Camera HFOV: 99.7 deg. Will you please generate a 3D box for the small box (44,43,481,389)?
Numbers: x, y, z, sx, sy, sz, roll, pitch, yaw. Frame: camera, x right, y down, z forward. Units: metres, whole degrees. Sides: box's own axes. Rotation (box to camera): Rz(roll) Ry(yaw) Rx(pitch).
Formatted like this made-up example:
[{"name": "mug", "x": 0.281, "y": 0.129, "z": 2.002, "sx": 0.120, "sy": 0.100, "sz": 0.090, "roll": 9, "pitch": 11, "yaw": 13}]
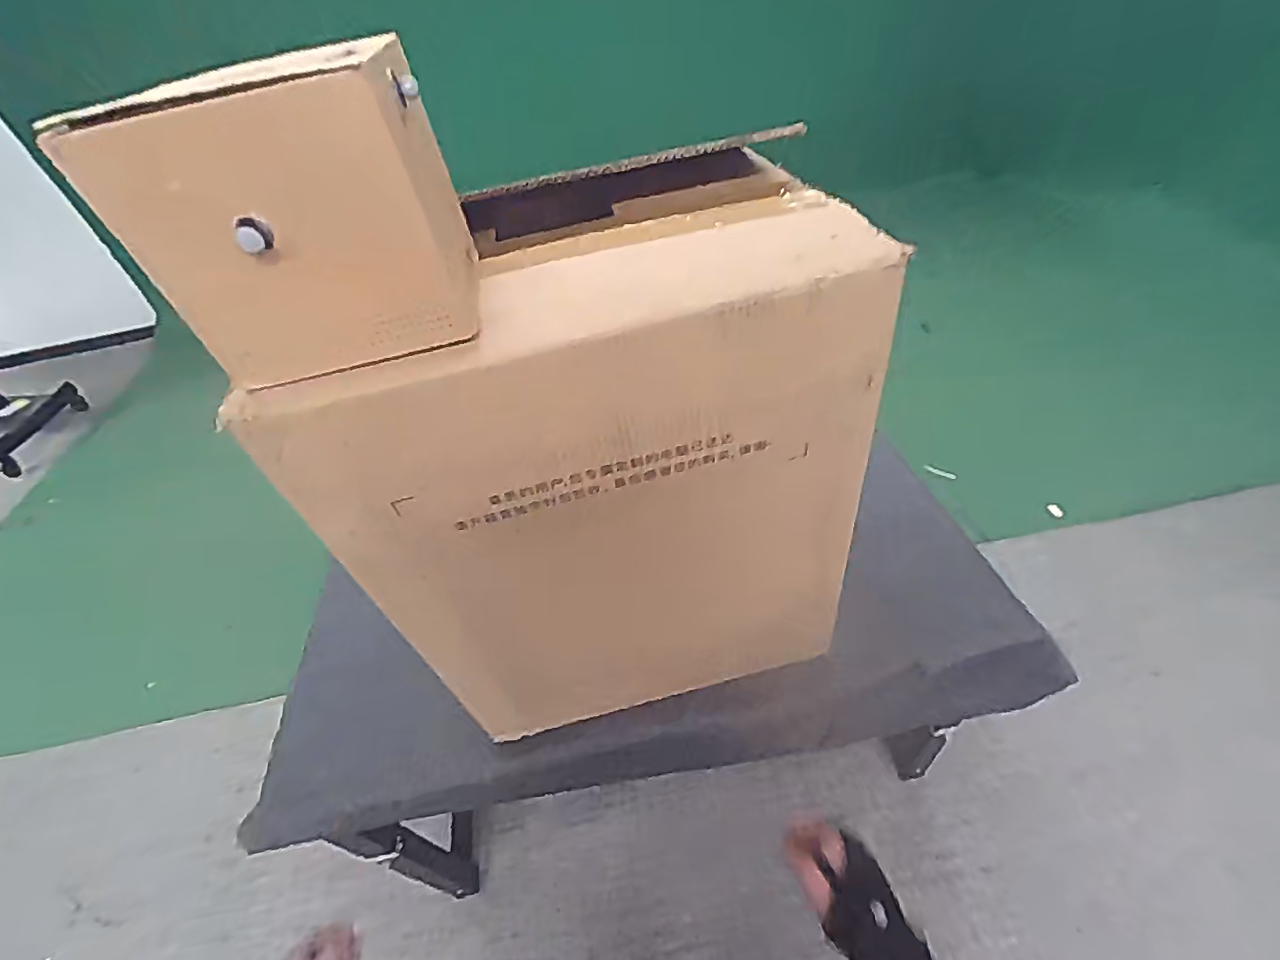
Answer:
[{"name": "small box", "x": -0.235, "y": -0.190, "z": 0.399, "sx": 0.179, "sy": 0.176, "sz": 0.168, "roll": -15, "pitch": 45, "yaw": -1}]
